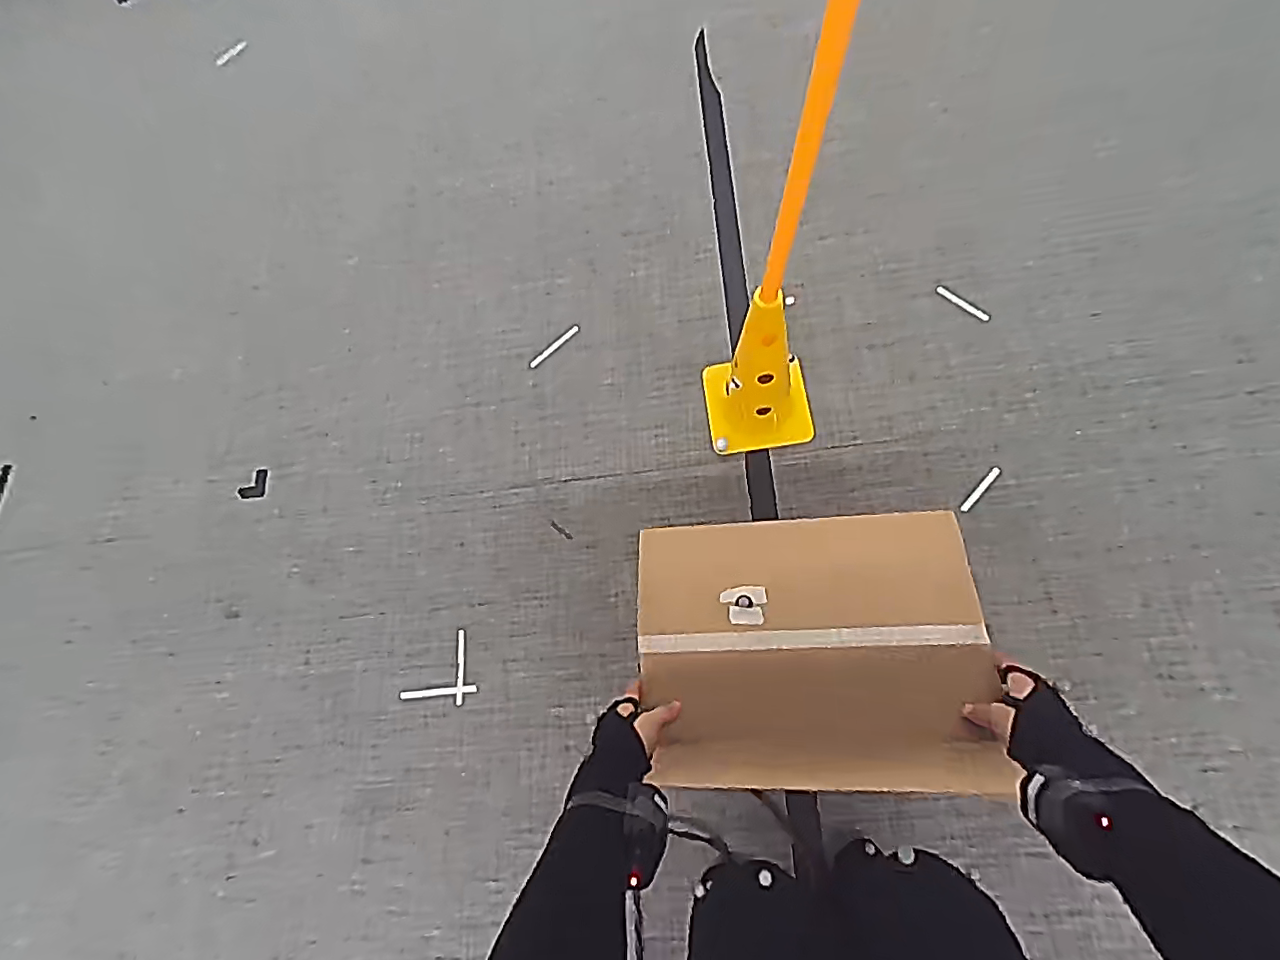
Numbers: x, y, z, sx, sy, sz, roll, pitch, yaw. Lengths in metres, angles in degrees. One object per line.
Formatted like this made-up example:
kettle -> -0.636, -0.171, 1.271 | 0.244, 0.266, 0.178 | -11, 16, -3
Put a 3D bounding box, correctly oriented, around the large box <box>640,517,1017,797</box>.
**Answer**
large box -> 0.229, 0.268, 0.788 | 0.408, 0.320, 0.320 | -6, 62, 11
